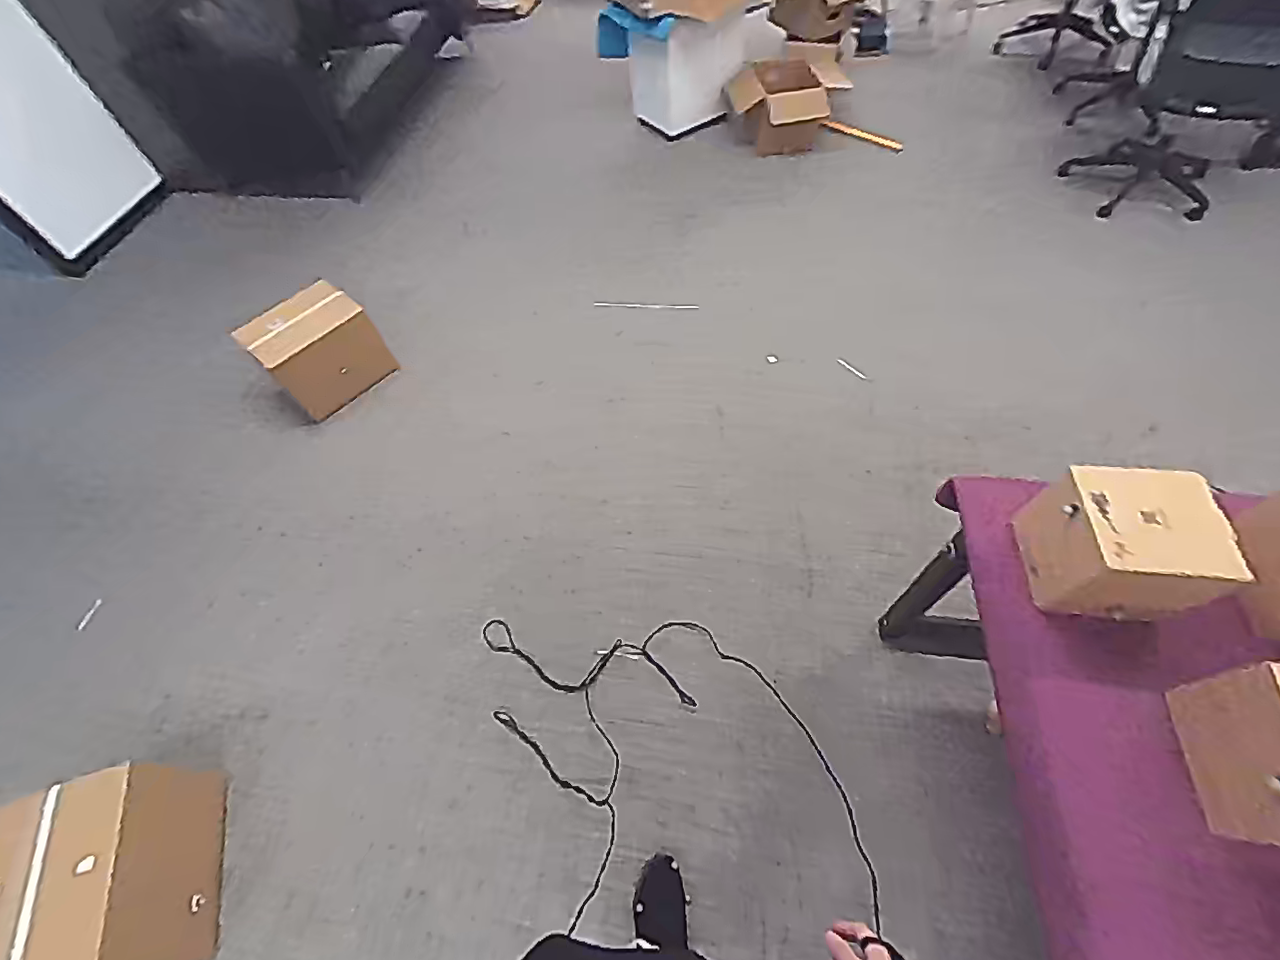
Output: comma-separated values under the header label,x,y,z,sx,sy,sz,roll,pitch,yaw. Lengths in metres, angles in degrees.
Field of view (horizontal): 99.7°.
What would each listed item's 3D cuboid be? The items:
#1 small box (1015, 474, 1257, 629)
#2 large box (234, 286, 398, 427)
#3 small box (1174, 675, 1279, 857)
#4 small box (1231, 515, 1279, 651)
label,x,y,z,sx,sy,sz,roll,pitch,yaw
small box,0.704,0.110,0.796,0.179,0.176,0.168,5,57,6
large box,-1.276,-0.494,2.165,0.320,0.320,0.408,34,66,25
small box,0.799,0.348,0.632,0.168,0.176,0.179,6,57,8
small box,0.990,0.138,0.754,0.168,0.176,0.179,5,58,9
